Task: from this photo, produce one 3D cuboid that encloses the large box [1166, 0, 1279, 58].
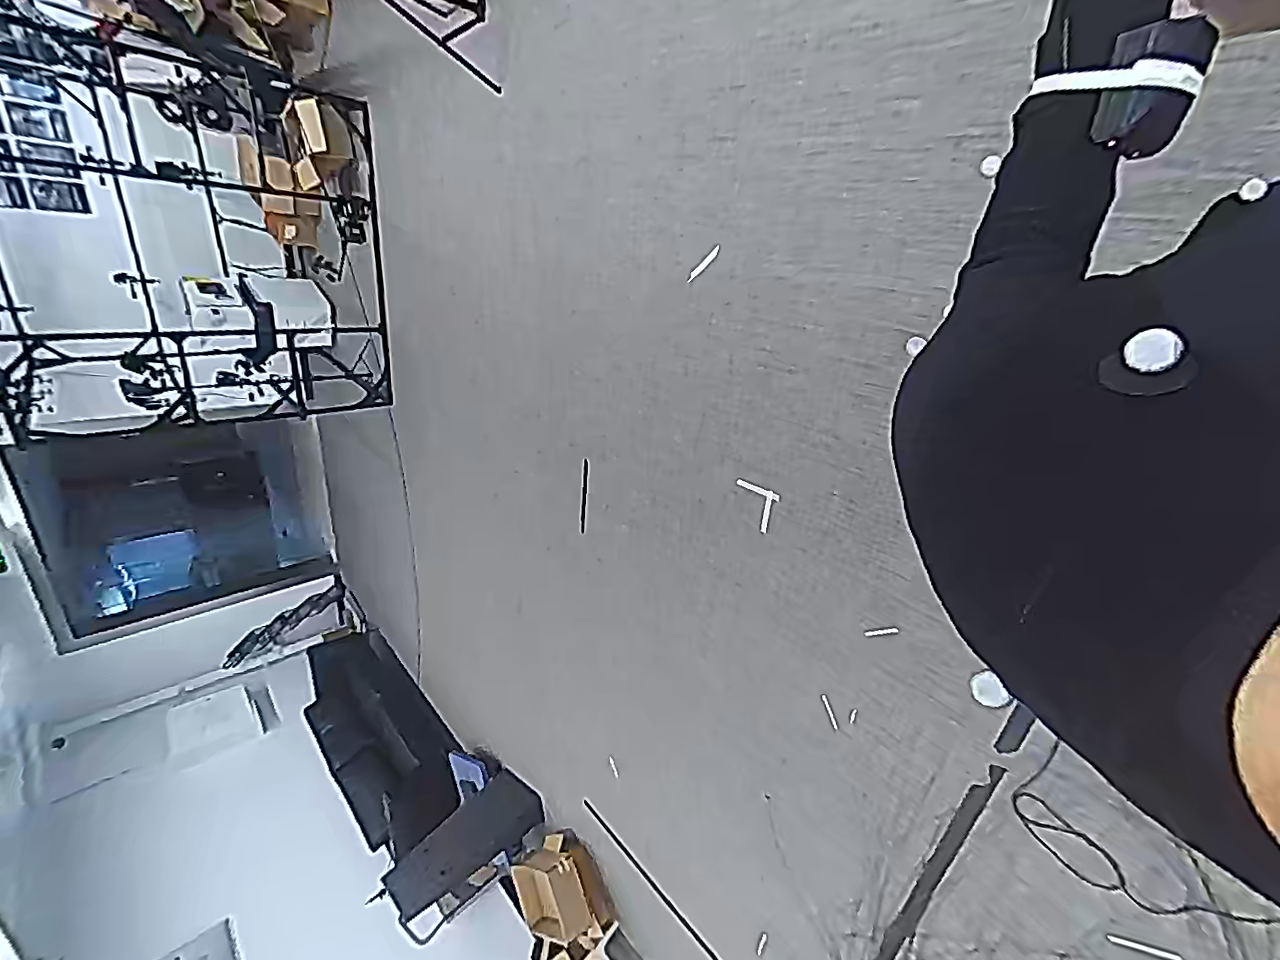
[{"bbox_3d":[0.559,-0.423,0.231,0.408,0.320,0.320,23,130,39],"label":"large box"}]
